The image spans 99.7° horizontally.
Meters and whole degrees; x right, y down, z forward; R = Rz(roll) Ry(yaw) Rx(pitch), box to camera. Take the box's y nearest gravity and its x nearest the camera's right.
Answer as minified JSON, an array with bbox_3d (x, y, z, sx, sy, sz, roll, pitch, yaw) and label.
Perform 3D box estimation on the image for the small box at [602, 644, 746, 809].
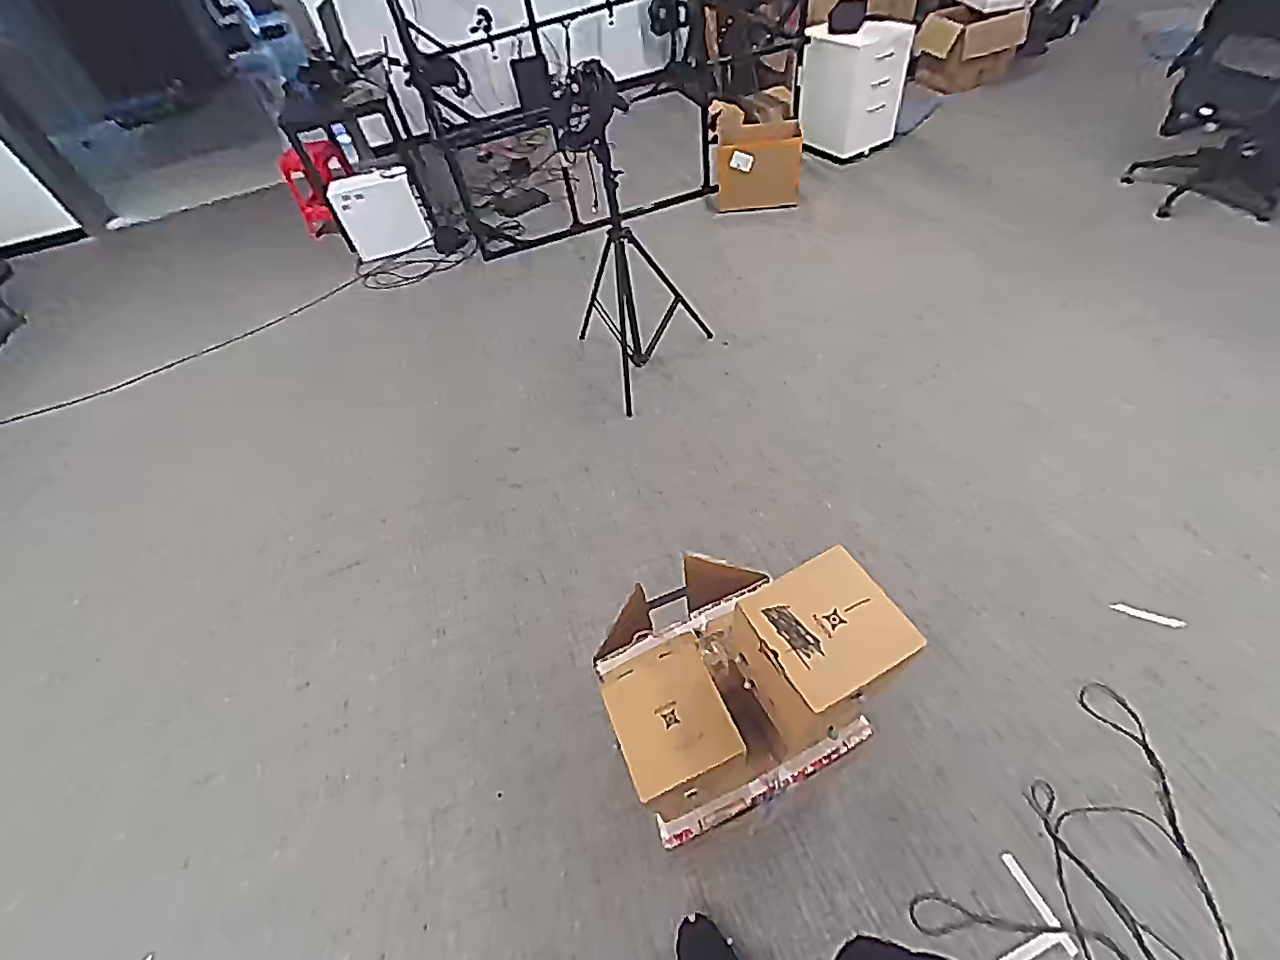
[{"bbox_3d":[0.054,0.400,0.872,0.168,0.176,0.179,-24,55,-7],"label":"small box"}]

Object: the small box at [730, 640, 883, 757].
[{"bbox_3d":[0.263,0.328,0.896,0.179,0.176,0.168,-26,54,-12],"label":"small box"}]

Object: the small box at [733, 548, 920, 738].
[{"bbox_3d":[0.247,0.233,0.761,0.179,0.176,0.168,-26,55,-12],"label":"small box"}]
